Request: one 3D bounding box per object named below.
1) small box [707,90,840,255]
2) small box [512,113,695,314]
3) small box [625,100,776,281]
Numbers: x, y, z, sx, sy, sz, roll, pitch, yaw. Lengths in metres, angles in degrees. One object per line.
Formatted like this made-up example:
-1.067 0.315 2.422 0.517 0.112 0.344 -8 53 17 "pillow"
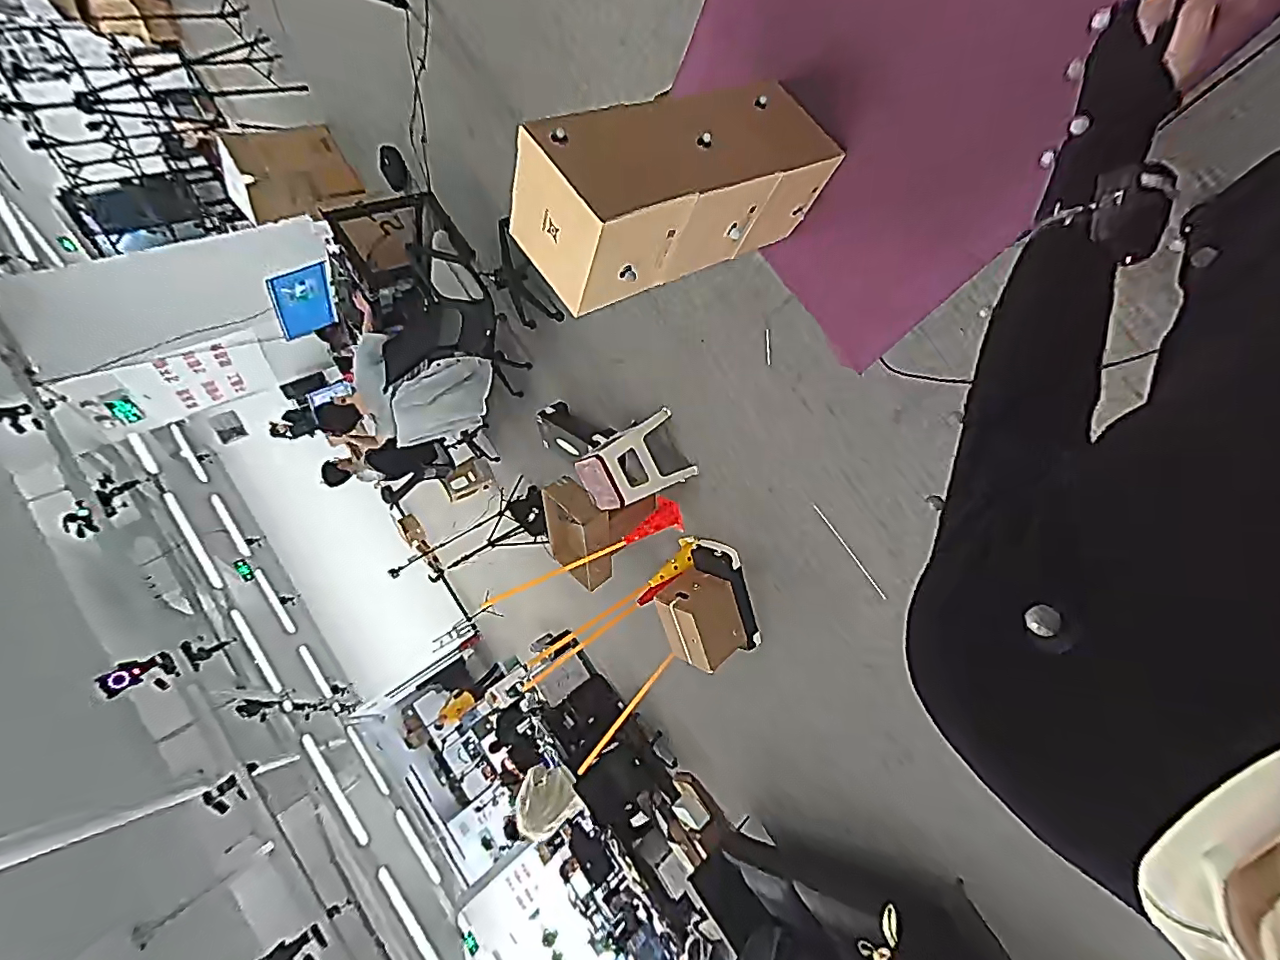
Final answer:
0.190 -0.517 0.905 0.179 0.176 0.168 53 151 9 "small box"
-0.053 -0.370 0.746 0.179 0.176 0.168 53 151 10 "small box"
0.068 -0.444 0.824 0.179 0.176 0.168 53 151 9 "small box"
